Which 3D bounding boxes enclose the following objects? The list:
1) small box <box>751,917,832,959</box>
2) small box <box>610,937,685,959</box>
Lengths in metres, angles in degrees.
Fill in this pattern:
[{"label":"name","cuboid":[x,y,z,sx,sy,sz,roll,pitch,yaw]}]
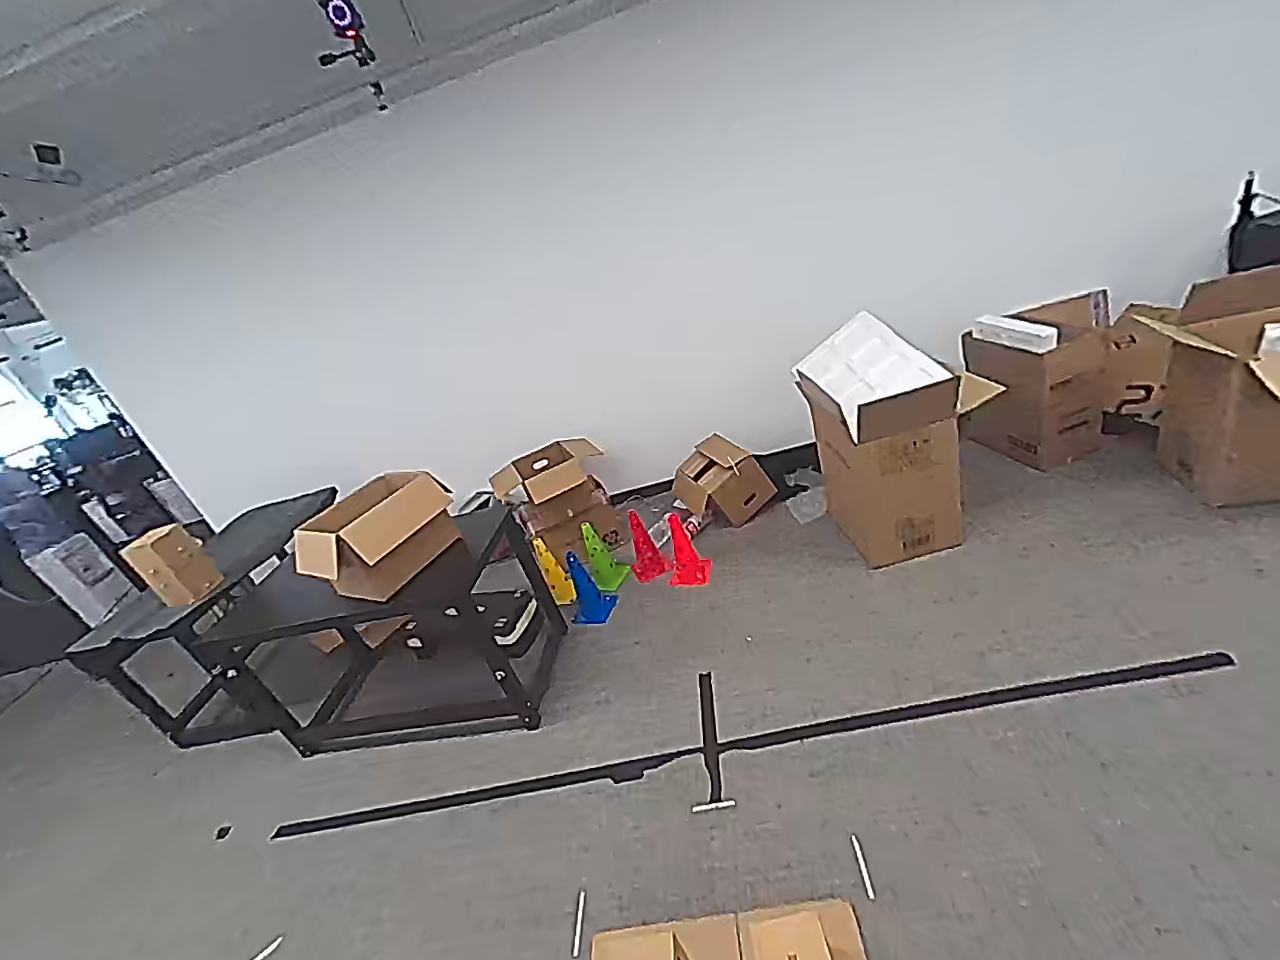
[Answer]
[{"label":"small box","cuboid":[0.359,1.127,1.199,0.168,0.176,0.179,-17,25,5]},{"label":"small box","cuboid":[0.029,1.210,1.247,0.168,0.176,0.179,-16,25,8]}]
